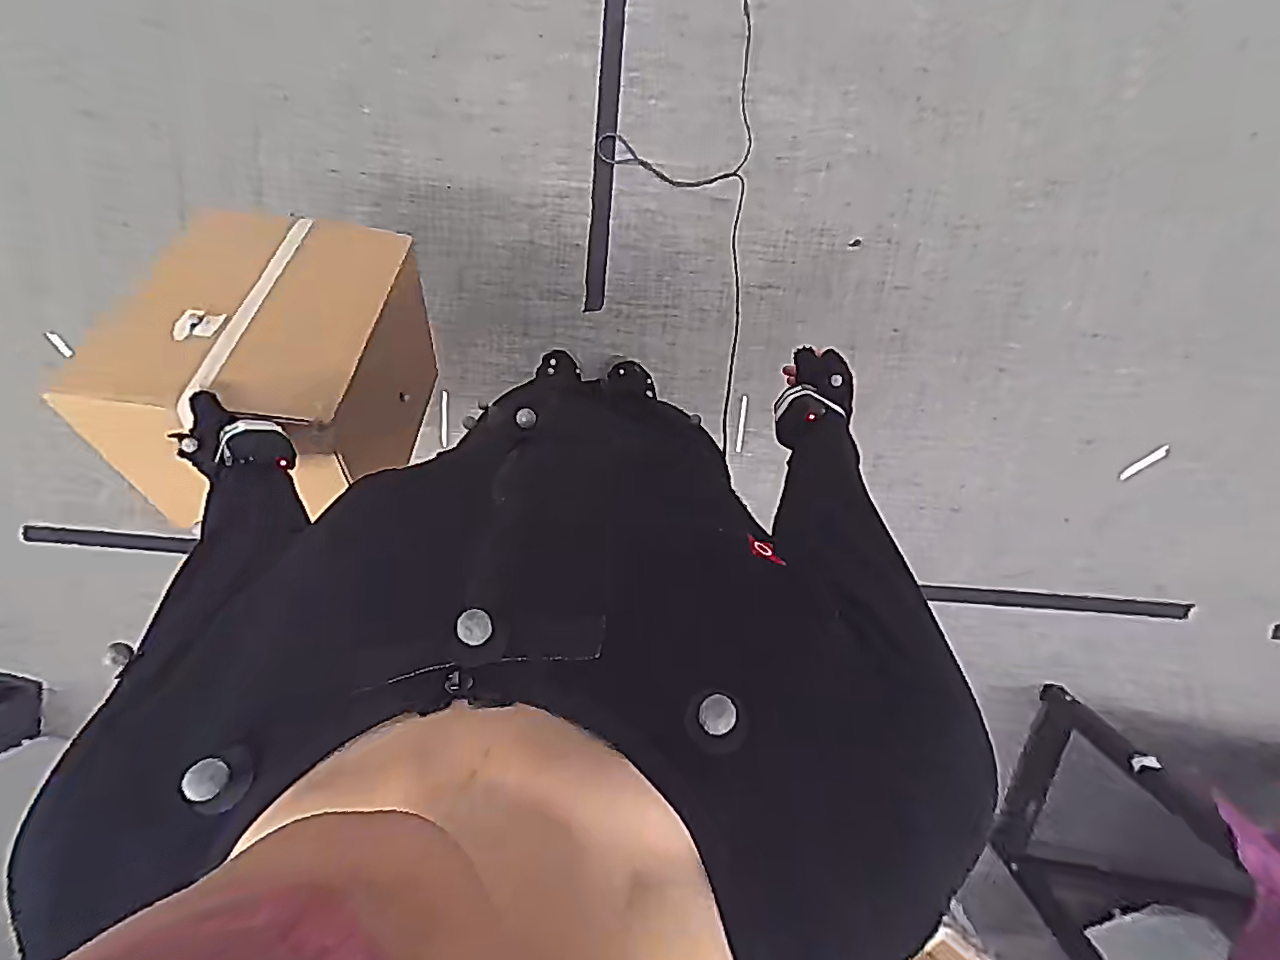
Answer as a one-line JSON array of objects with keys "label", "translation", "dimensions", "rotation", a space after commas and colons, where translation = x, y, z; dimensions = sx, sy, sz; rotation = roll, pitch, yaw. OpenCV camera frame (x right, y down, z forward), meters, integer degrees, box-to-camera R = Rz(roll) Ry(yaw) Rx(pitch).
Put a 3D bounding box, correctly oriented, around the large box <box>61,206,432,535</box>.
[{"label": "large box", "translation": [-0.556, -0.168, 0.884], "dimensions": [0.320, 0.408, 0.320], "rotation": [7, 146, -7]}]
